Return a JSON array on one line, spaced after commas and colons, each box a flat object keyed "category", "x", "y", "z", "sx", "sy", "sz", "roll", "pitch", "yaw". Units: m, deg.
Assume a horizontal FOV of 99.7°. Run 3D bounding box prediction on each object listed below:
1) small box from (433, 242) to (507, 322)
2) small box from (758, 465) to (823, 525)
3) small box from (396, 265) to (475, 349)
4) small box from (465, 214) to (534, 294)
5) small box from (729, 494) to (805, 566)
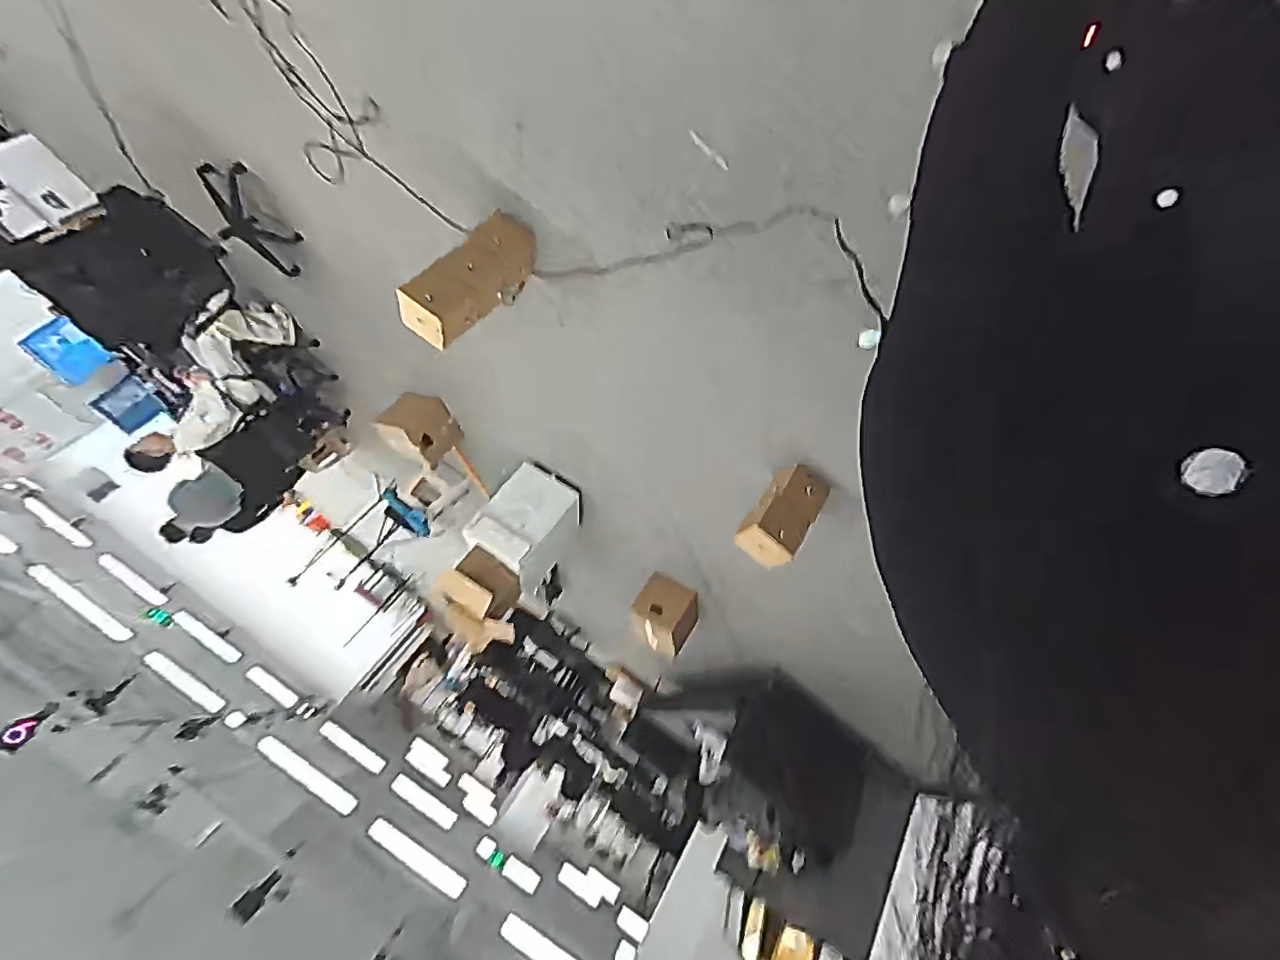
[{"category": "small box", "x": -0.589, "y": -0.692, "z": 1.873, "sx": 0.179, "sy": 0.176, "sz": 0.168, "roll": 37, "pitch": 152, "yaw": 0}, {"category": "small box", "x": 0.559, "y": 0.071, "z": 2.029, "sx": 0.168, "sy": 0.176, "sz": 0.179, "roll": 40, "pitch": 151, "yaw": -4}, {"category": "small box", "x": -0.671, "y": -0.579, "z": 1.789, "sx": 0.179, "sy": 0.176, "sz": 0.168, "roll": 36, "pitch": 151, "yaw": 1}, {"category": "small box", "x": -0.499, "y": -0.814, "z": 1.936, "sx": 0.179, "sy": 0.176, "sz": 0.168, "roll": 36, "pitch": 151, "yaw": 4}, {"category": "small box", "x": 0.462, "y": 0.180, "z": 1.956, "sx": 0.179, "sy": 0.176, "sz": 0.168, "roll": 41, "pitch": 150, "yaw": -3}]
